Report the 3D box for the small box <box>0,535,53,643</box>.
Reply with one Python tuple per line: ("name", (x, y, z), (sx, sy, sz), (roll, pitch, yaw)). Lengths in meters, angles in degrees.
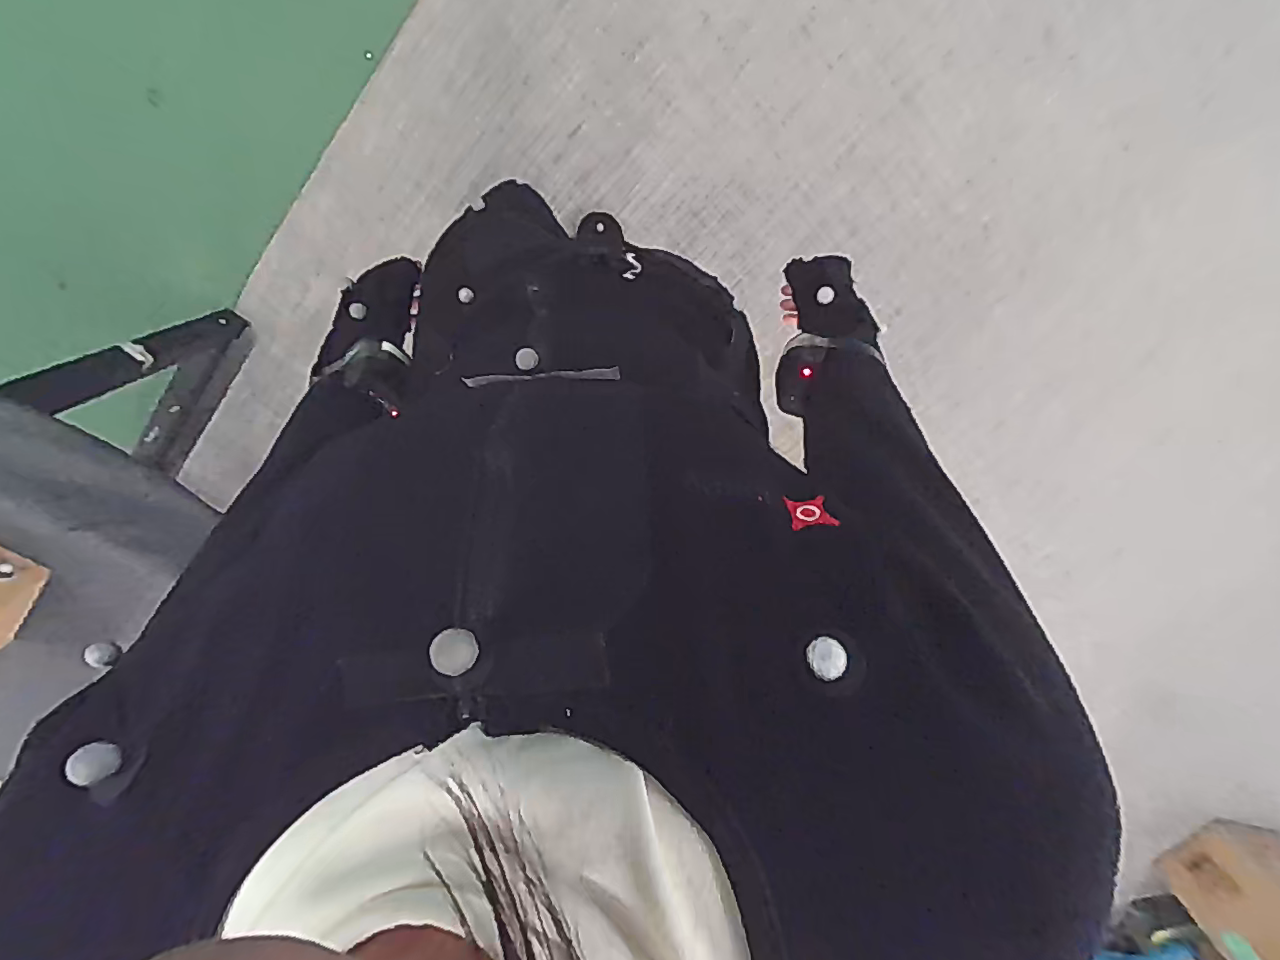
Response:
("small box", (-0.902, 0.154, 0.666), (0.168, 0.176, 0.179), (39, 113, -22))
